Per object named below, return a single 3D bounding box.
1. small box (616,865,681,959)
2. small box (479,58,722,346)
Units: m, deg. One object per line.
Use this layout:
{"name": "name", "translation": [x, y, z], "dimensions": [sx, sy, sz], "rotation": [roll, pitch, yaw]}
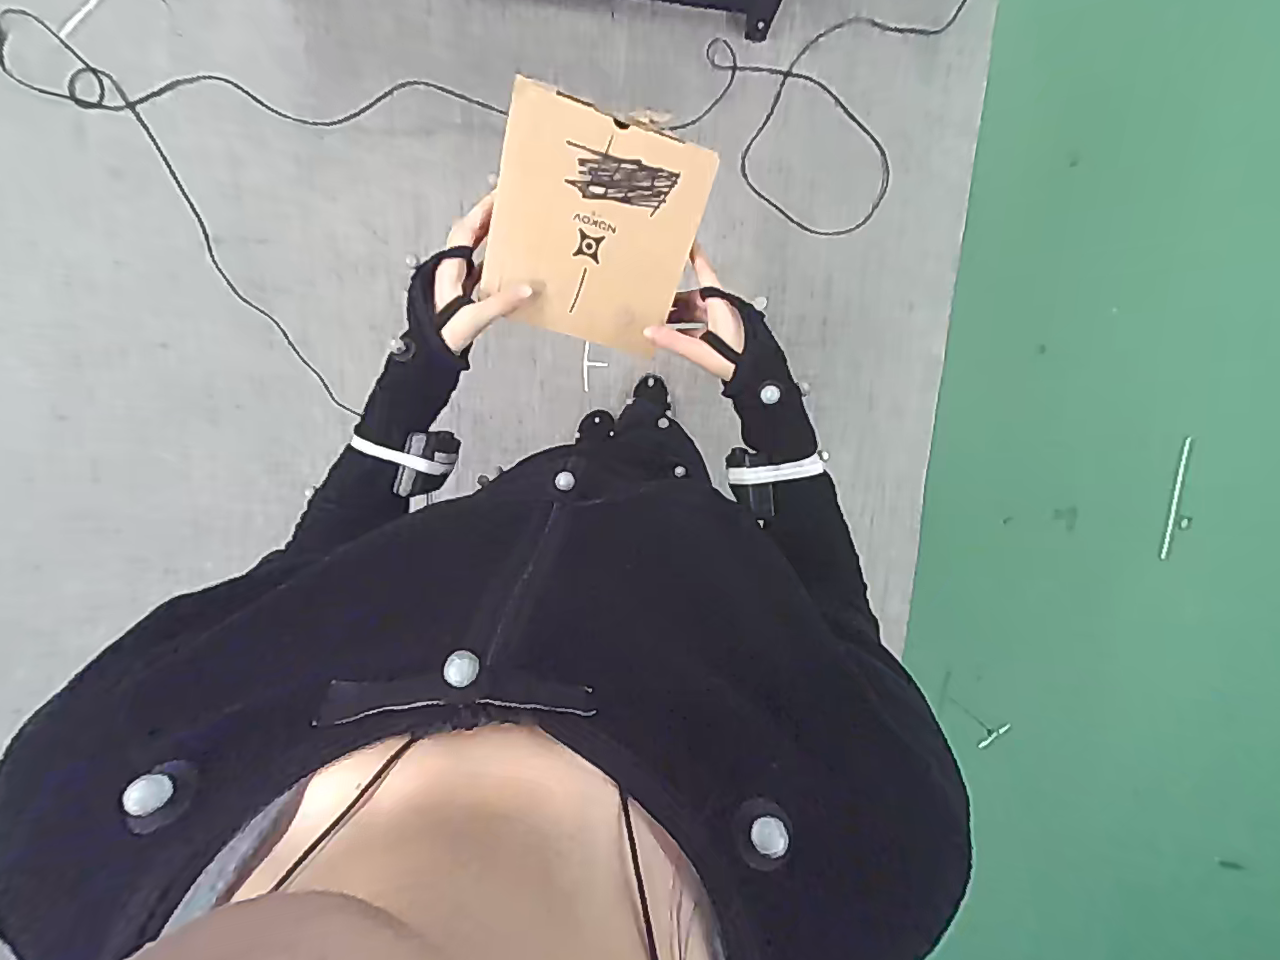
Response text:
{"name": "small box", "translation": [0.020, 1.300, 1.629], "dimensions": [0.179, 0.176, 0.168], "rotation": [3, 99, -5]}
{"name": "small box", "translation": [-0.044, -0.254, 0.515], "dimensions": [0.168, 0.176, 0.179], "rotation": [14, 118, -13]}
